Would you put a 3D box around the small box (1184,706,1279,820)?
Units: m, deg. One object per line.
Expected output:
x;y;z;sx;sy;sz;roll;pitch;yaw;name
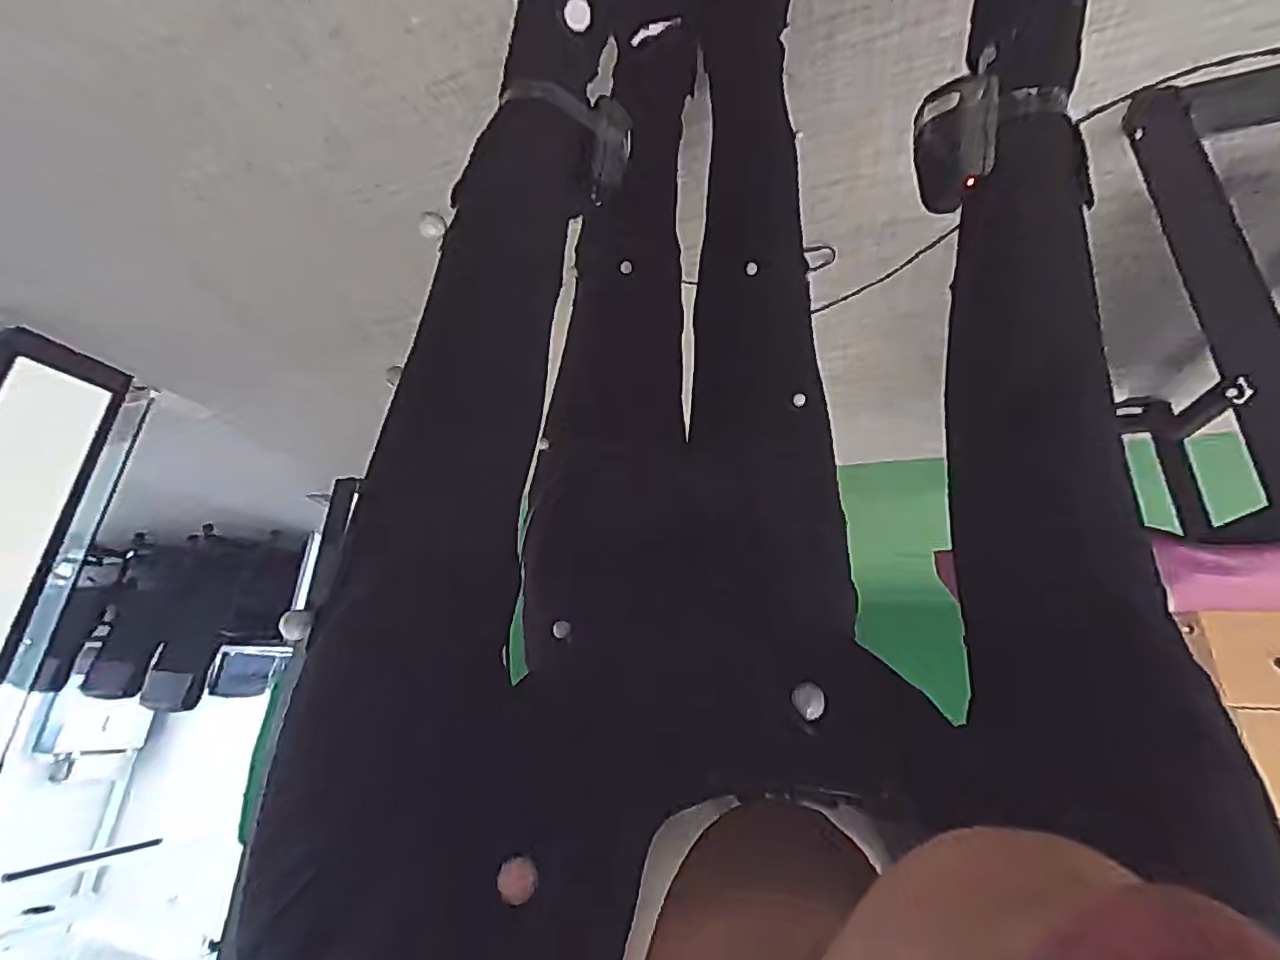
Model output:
1.118;0.484;0.936;0.179;0.176;0.168;-3;158;17;small box

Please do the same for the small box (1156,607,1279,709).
1.118;0.332;0.999;0.179;0.176;0.168;-4;158;16;small box
